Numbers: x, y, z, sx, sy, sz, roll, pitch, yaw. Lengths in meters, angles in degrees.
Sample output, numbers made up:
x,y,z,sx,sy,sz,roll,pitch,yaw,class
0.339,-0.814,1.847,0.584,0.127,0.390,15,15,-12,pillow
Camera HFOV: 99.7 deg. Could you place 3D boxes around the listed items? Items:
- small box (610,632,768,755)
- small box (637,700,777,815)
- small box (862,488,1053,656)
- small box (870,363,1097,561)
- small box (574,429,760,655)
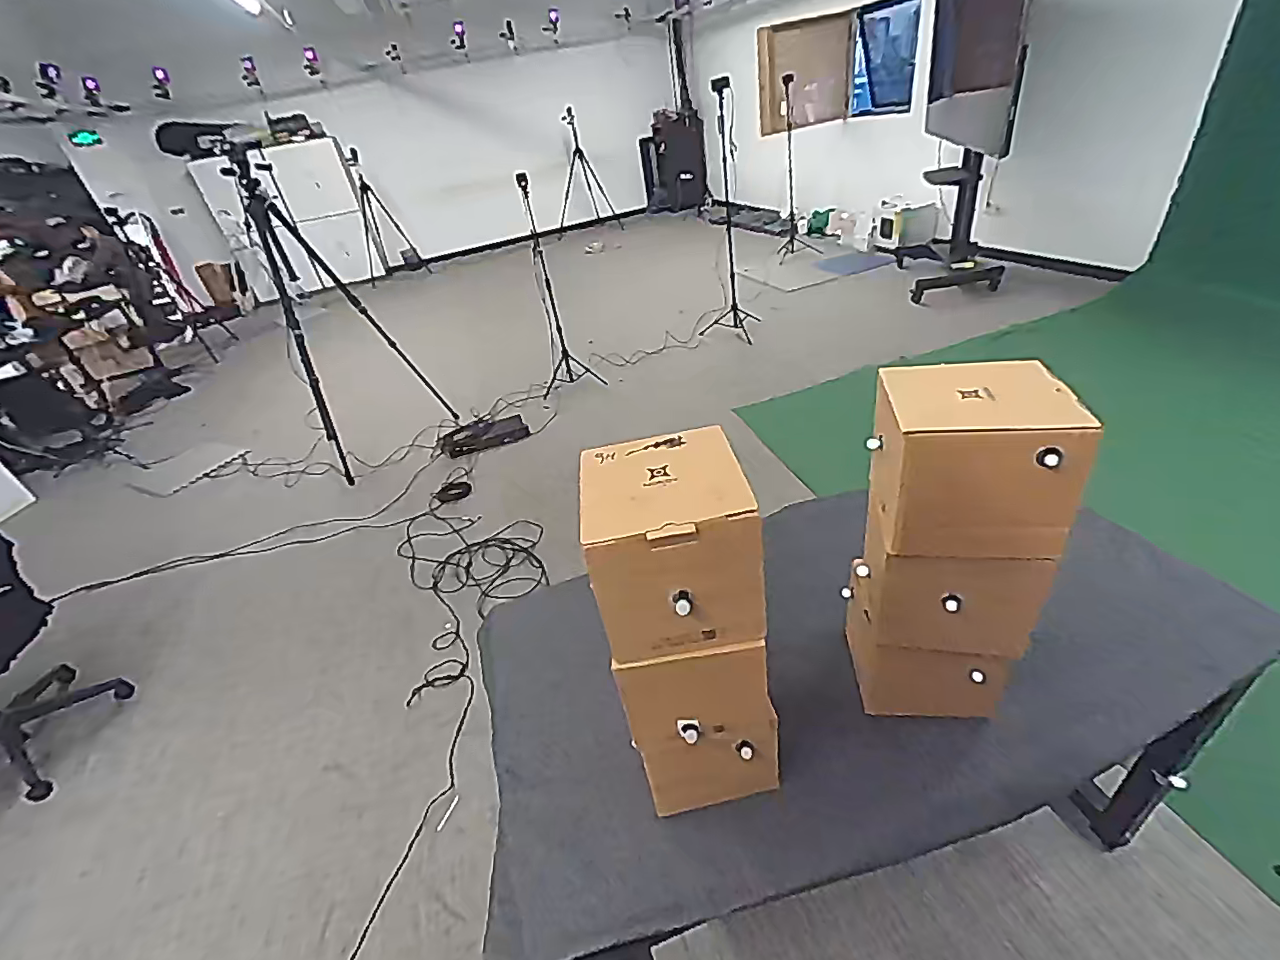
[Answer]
x,y,z,sx,sy,sz,roll,pitch,yaw,class
0.057,0.208,0.677,0.168,0.176,0.179,-11,34,3,small box
0.084,0.339,0.769,0.179,0.176,0.168,-13,33,-2,small box
0.398,0.112,0.716,0.179,0.176,0.168,0,34,17,small box
0.370,-0.021,0.626,0.179,0.176,0.168,0,34,14,small box
0.029,0.070,0.592,0.168,0.176,0.179,-11,34,2,small box
